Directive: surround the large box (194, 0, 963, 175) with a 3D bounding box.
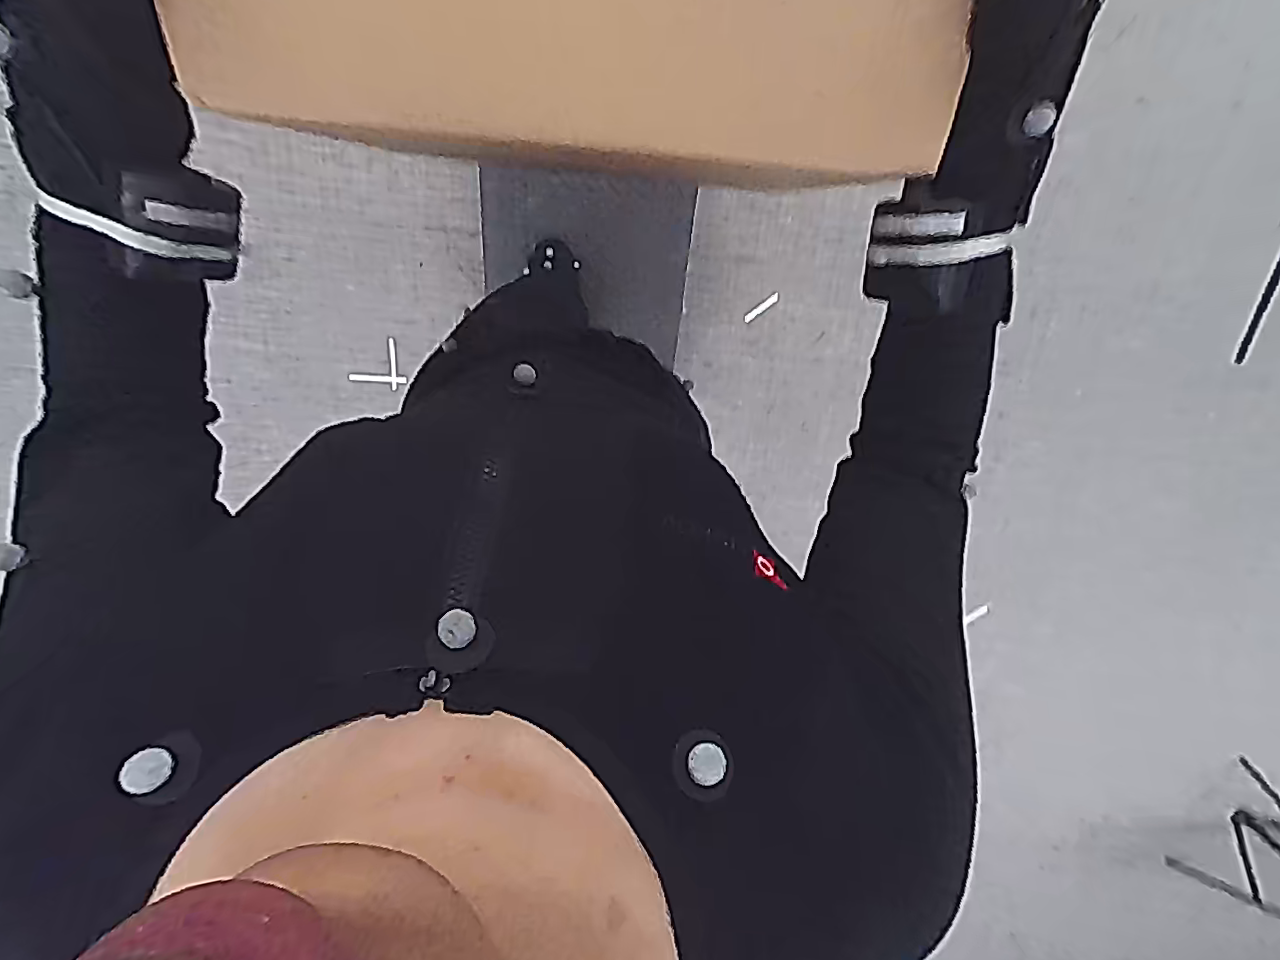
[{"bbox_3d":[-0.026,-0.404,0.368,0.408,0.320,0.320,3,117,-3],"label":"large box"}]
